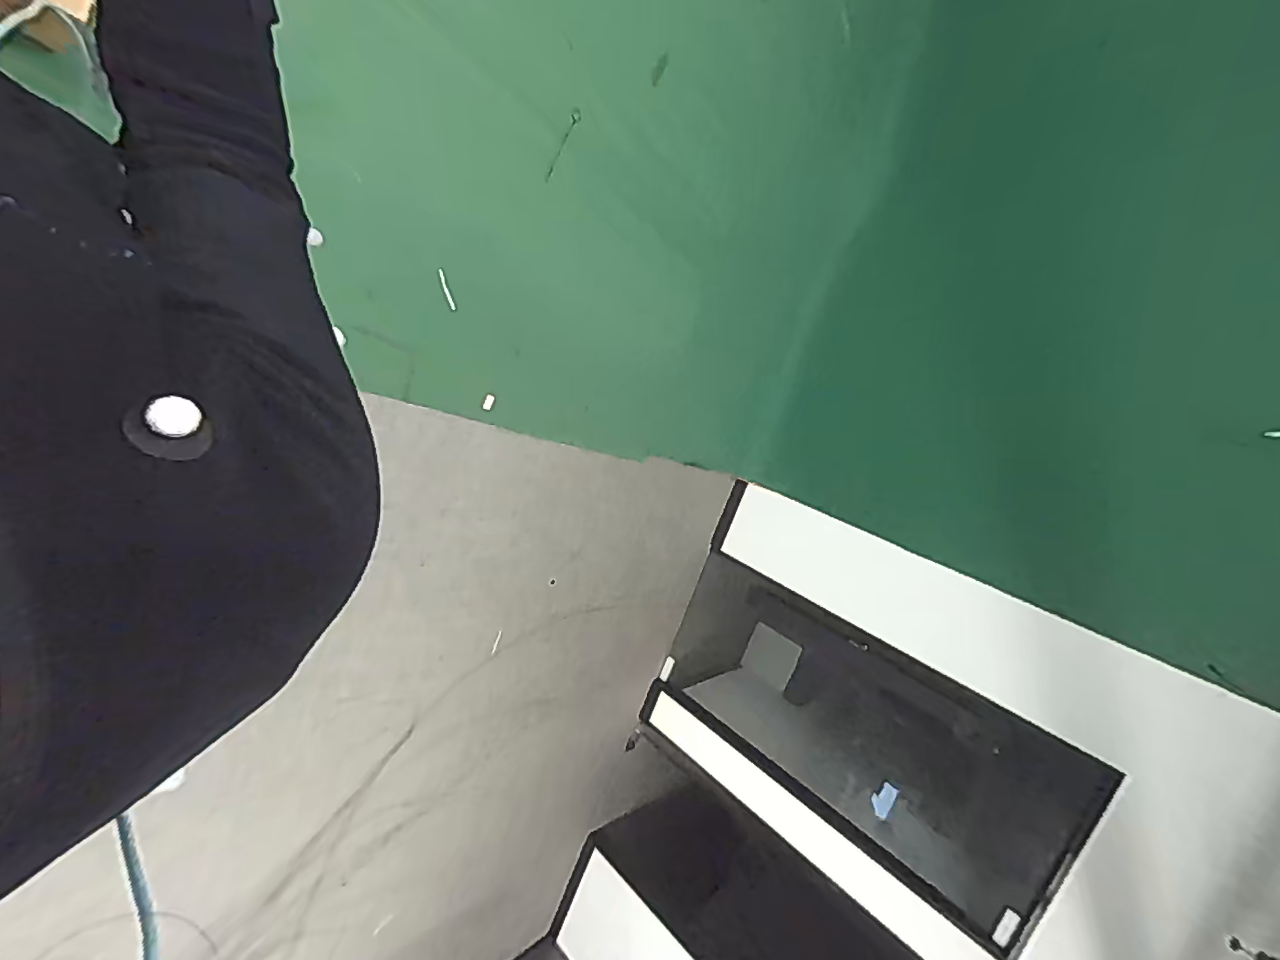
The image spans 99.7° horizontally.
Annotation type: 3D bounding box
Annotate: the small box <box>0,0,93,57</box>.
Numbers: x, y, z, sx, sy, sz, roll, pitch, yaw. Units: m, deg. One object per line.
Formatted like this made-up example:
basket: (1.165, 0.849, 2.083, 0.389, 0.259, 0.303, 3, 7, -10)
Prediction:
small box: (-0.921, -0.767, 0.789, 0.168, 0.176, 0.179, 13, 102, -53)
